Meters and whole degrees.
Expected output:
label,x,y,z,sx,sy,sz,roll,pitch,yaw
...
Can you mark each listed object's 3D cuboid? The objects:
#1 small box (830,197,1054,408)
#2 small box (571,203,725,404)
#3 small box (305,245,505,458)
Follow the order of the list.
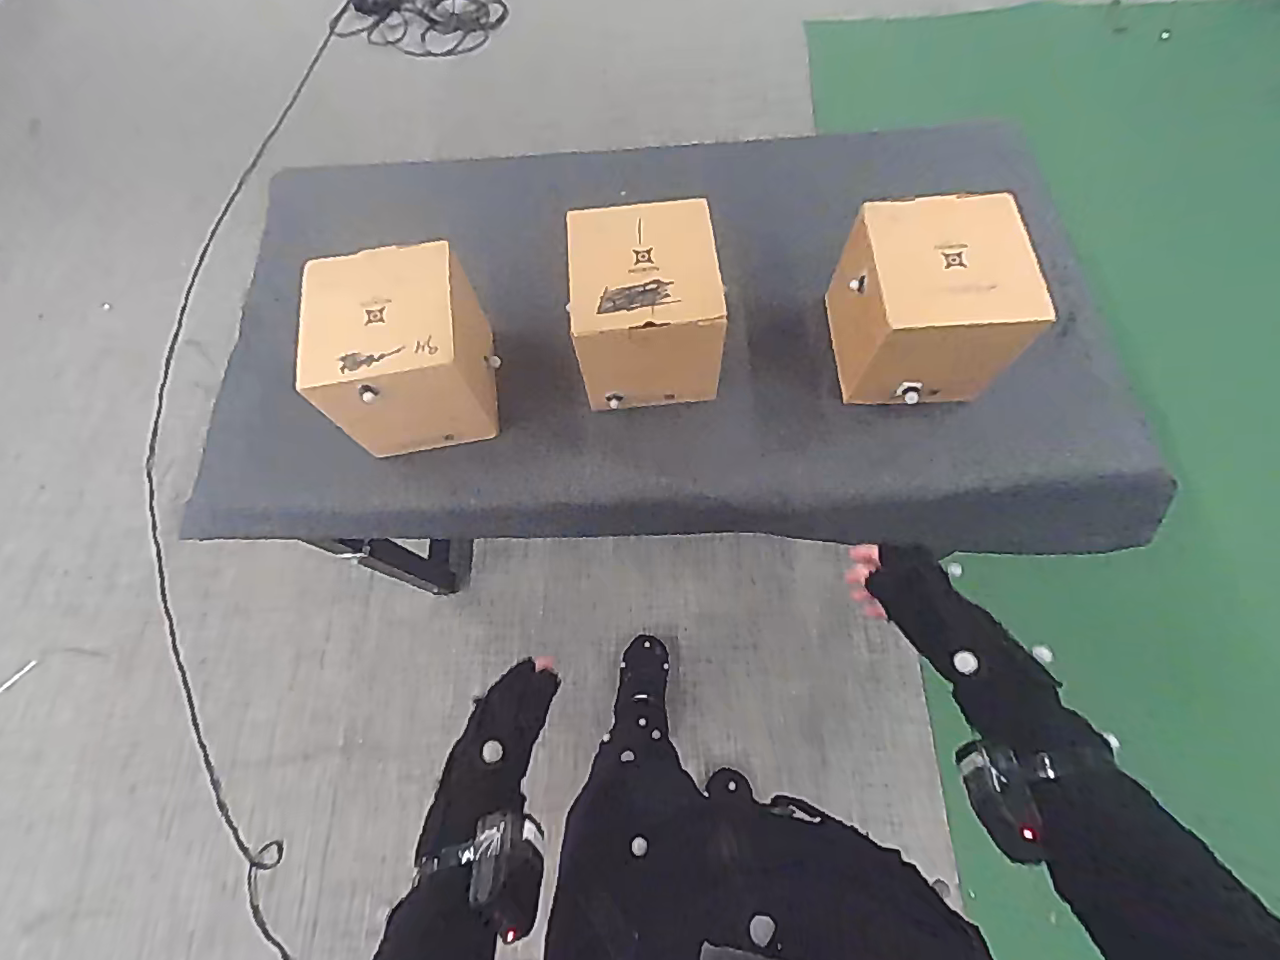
label,x,y,z,sx,sy,sz,roll,pitch,yaw
small box,0.342,-0.206,0.656,0.168,0.176,0.179,-3,69,4
small box,0.010,-0.206,0.674,0.168,0.176,0.179,-5,67,1
small box,-0.274,-0.150,0.667,0.168,0.176,0.179,-11,66,0
